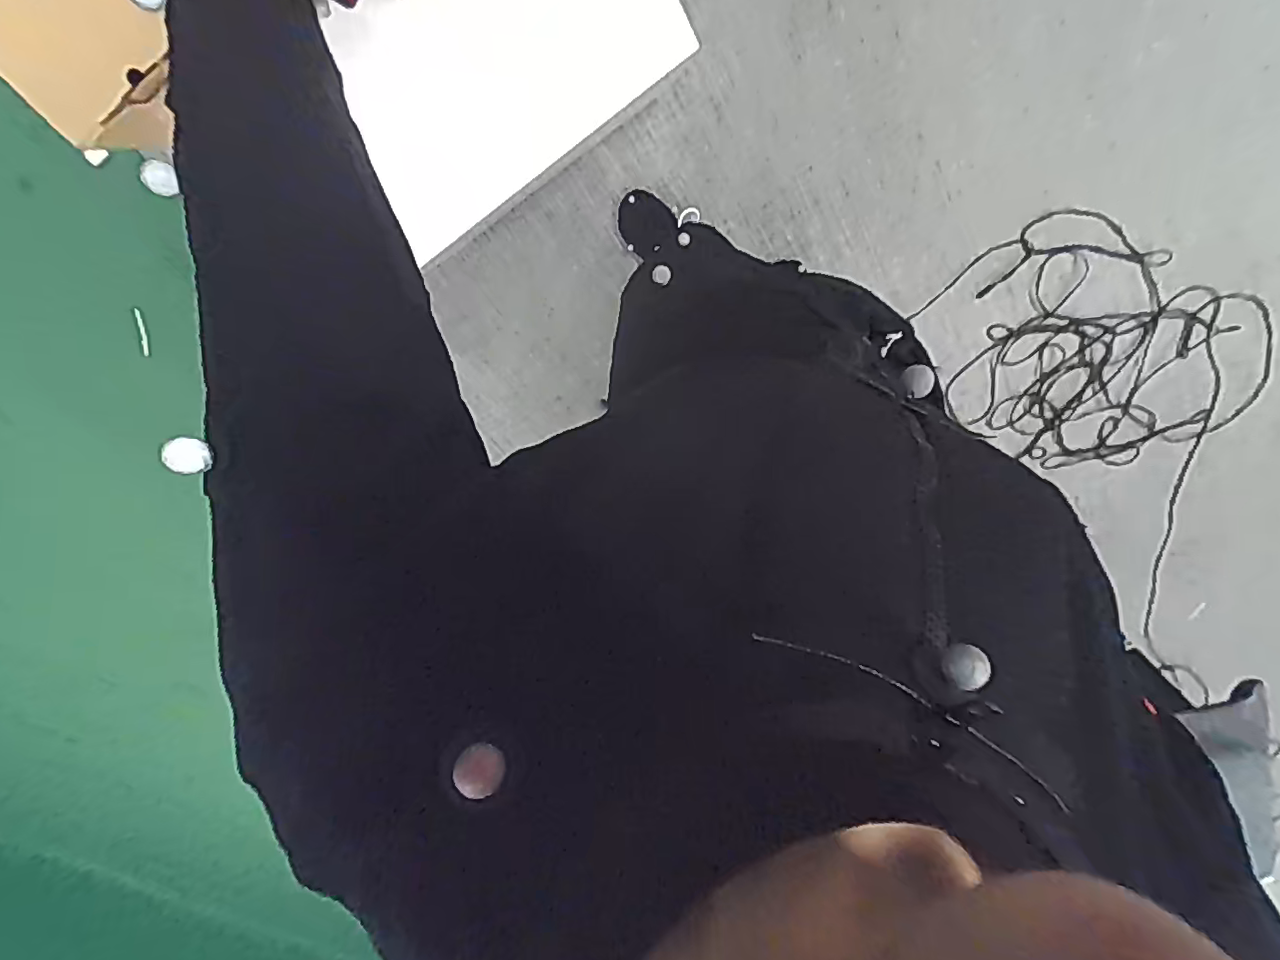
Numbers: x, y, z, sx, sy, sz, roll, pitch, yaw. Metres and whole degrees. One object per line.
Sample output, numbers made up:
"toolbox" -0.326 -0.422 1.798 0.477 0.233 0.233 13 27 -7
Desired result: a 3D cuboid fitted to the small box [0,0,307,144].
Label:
"small box" -0.423 -0.401 0.432 0.168 0.176 0.179 -29 120 16
